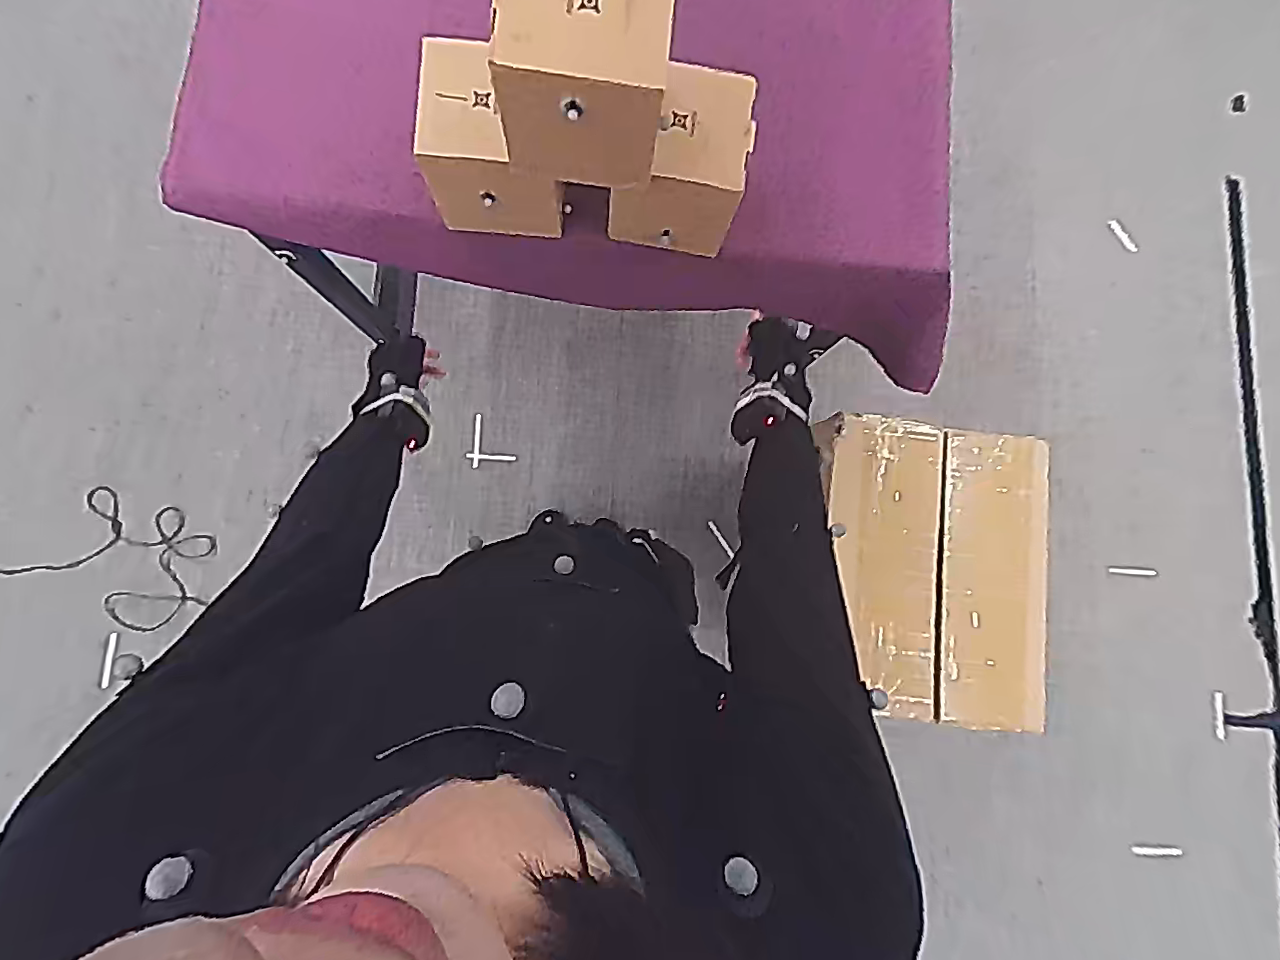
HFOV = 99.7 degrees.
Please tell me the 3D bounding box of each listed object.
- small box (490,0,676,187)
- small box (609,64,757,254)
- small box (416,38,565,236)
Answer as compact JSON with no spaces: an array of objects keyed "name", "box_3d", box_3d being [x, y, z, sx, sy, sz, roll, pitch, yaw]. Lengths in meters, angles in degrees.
[{"name":"small box","box_3d":[-0.059,-0.464,0.613,0.179,0.176,0.168,6,84,-5]},{"name":"small box","box_3d":[0.054,-0.454,0.787,0.179,0.176,0.168,8,82,-3]},{"name":"small box","box_3d":[-0.196,-0.469,0.765,0.179,0.176,0.168,3,83,-4]}]
